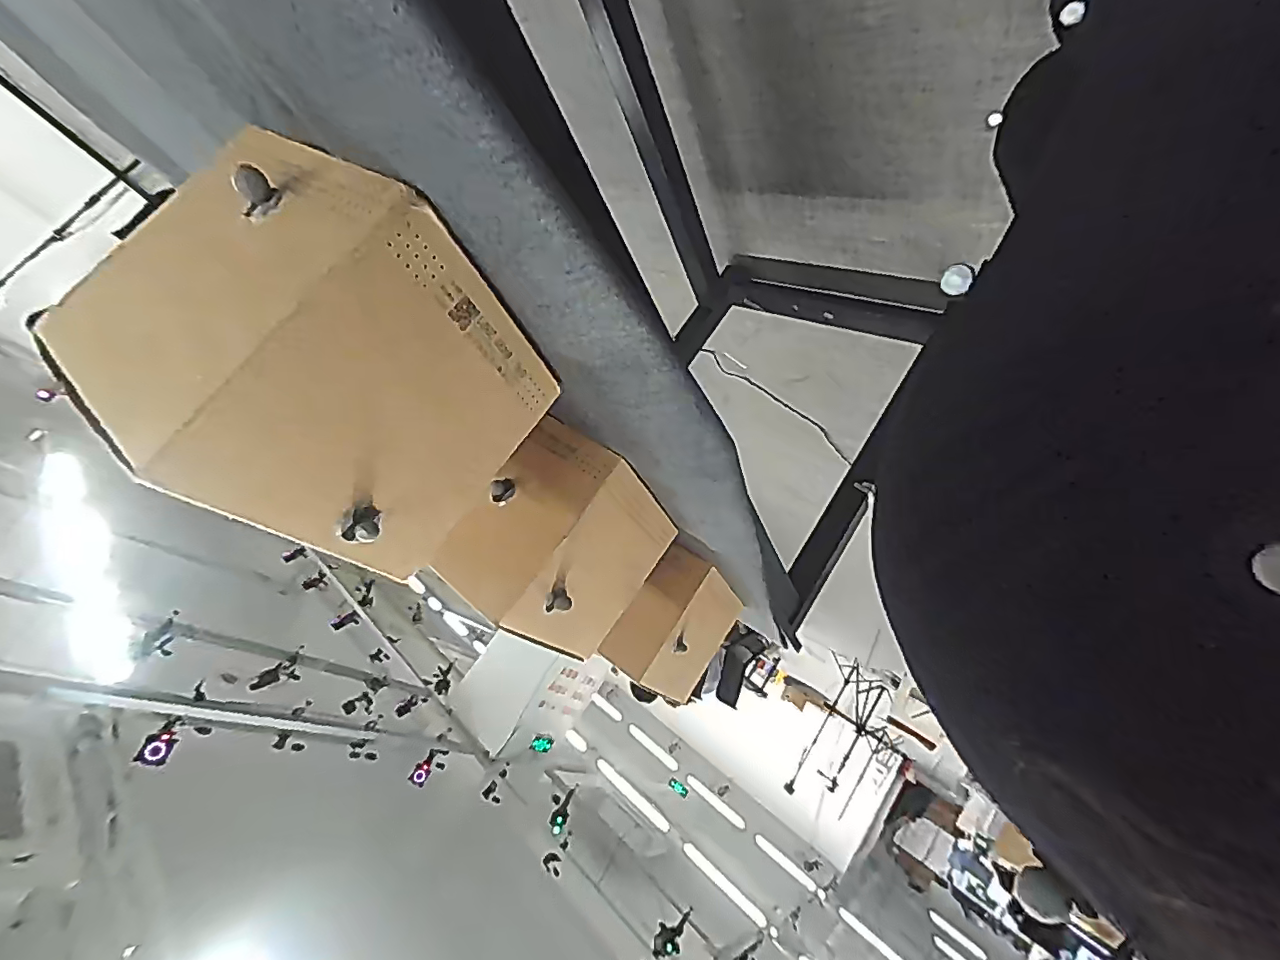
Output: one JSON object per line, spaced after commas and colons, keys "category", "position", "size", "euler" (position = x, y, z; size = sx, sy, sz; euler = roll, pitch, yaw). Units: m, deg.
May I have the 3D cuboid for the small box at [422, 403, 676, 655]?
{"category": "small box", "position": [-0.090, 0.042, 0.536], "size": [0.168, 0.176, 0.179], "euler": [31, 168, 30]}

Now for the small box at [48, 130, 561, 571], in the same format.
{"category": "small box", "position": [-0.183, -0.077, 0.334], "size": [0.179, 0.176, 0.168], "euler": [32, 168, 27]}
